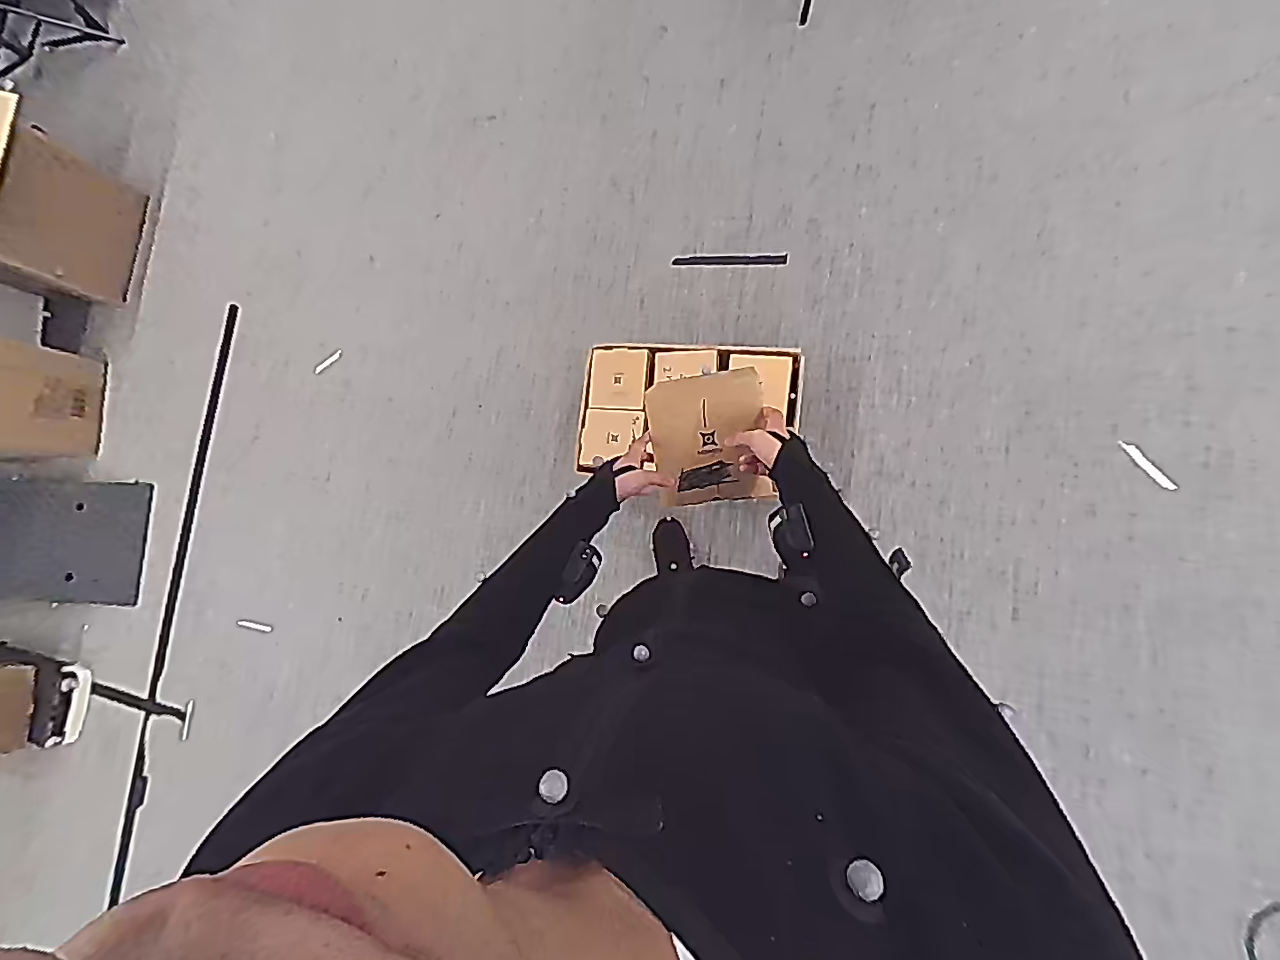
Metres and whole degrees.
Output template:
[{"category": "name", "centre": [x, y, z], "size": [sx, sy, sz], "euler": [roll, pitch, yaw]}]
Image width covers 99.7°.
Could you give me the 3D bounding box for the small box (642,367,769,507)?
[{"category": "small box", "centre": [0.108, -0.074, 0.852], "size": [0.168, 0.176, 0.179], "euler": [-8, 104, 11]}]
